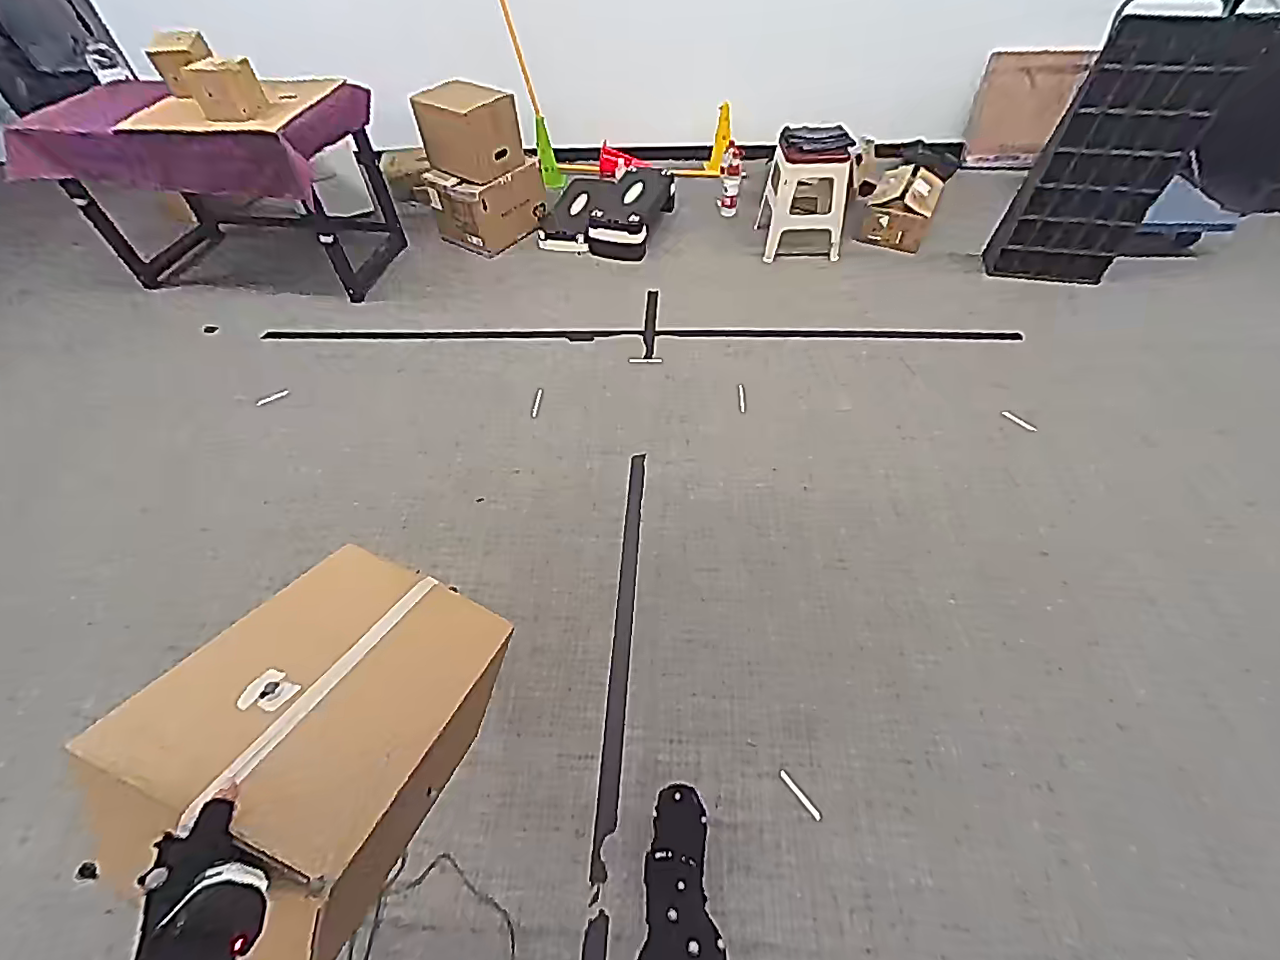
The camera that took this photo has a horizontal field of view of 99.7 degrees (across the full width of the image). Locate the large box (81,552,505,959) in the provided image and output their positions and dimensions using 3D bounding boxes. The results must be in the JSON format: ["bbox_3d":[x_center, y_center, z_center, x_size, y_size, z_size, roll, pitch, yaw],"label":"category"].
[{"bbox_3d":[-0.456,0.386,0.799,0.320,0.320,0.408,25,29,3],"label":"large box"}]
